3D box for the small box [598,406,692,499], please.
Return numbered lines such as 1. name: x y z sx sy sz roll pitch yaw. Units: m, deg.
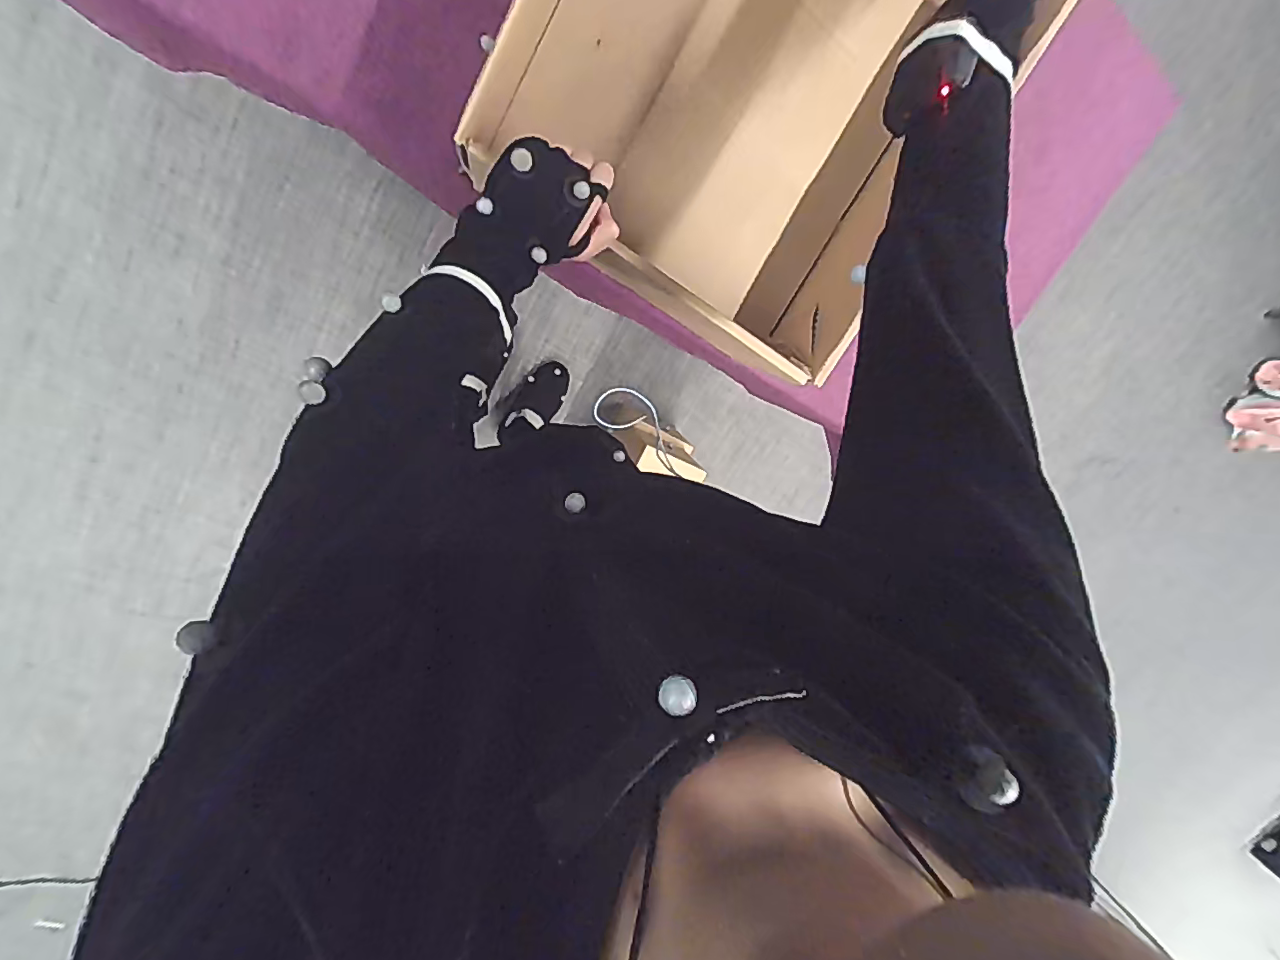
1. small box: 0.007 -0.080 1.447 0.179 0.176 0.168 24 104 -21
